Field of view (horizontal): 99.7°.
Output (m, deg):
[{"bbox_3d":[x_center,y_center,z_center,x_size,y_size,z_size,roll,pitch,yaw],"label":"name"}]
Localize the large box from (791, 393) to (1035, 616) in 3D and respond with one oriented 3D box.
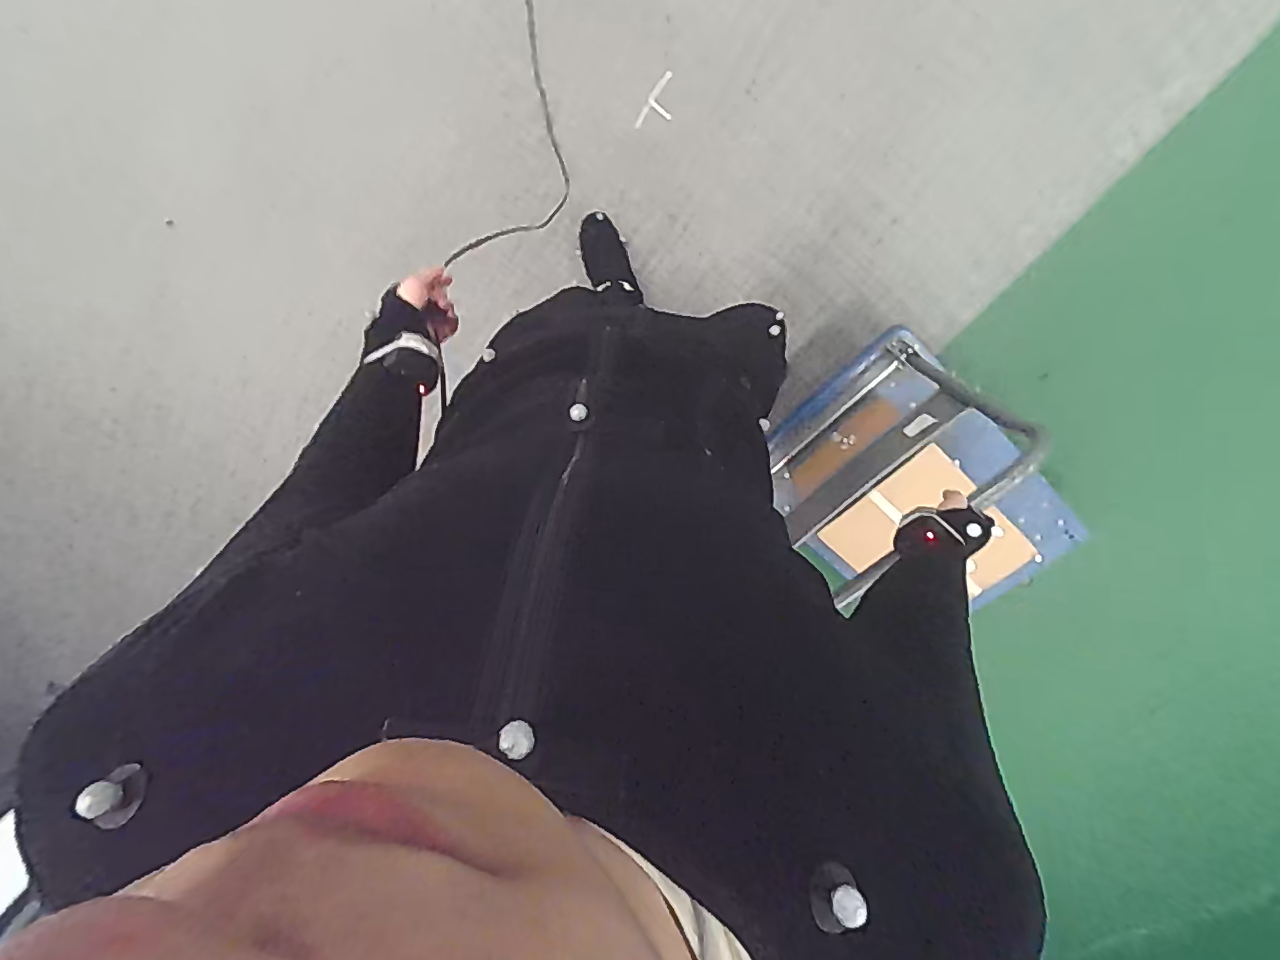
[{"bbox_3d":[0.651,0.054,1.355,0.408,0.320,0.320,39,113,-16],"label":"large box"}]
